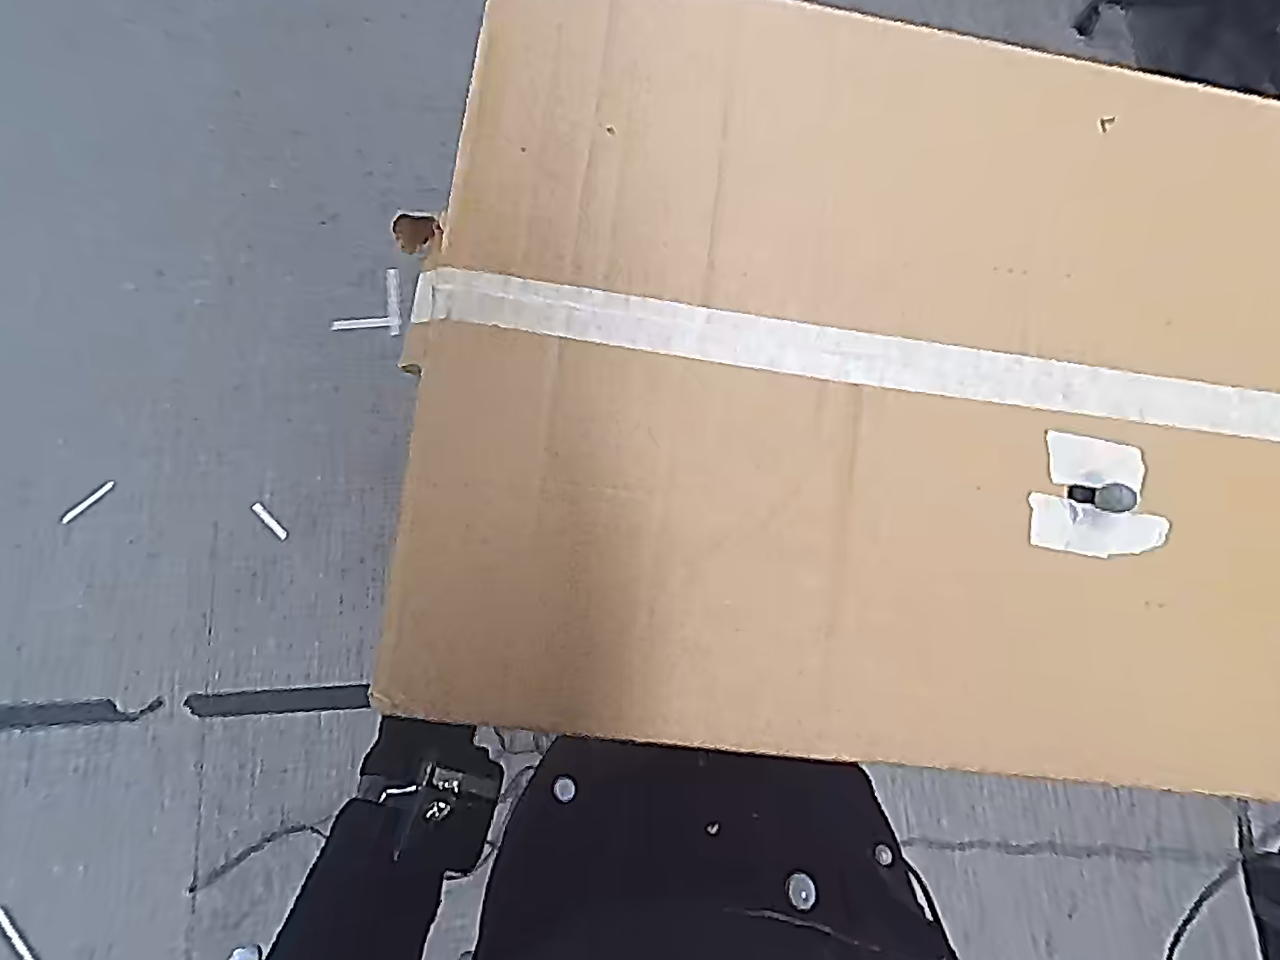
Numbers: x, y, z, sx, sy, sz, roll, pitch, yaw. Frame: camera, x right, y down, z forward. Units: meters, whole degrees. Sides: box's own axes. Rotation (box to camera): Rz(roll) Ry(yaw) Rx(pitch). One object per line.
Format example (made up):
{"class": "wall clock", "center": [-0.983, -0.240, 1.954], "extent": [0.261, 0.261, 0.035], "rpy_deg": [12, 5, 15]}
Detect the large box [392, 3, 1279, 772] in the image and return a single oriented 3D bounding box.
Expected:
{"class": "large box", "center": [0.097, -0.024, 0.382], "extent": [0.408, 0.320, 0.320], "rpy_deg": [6, 84, -6]}
